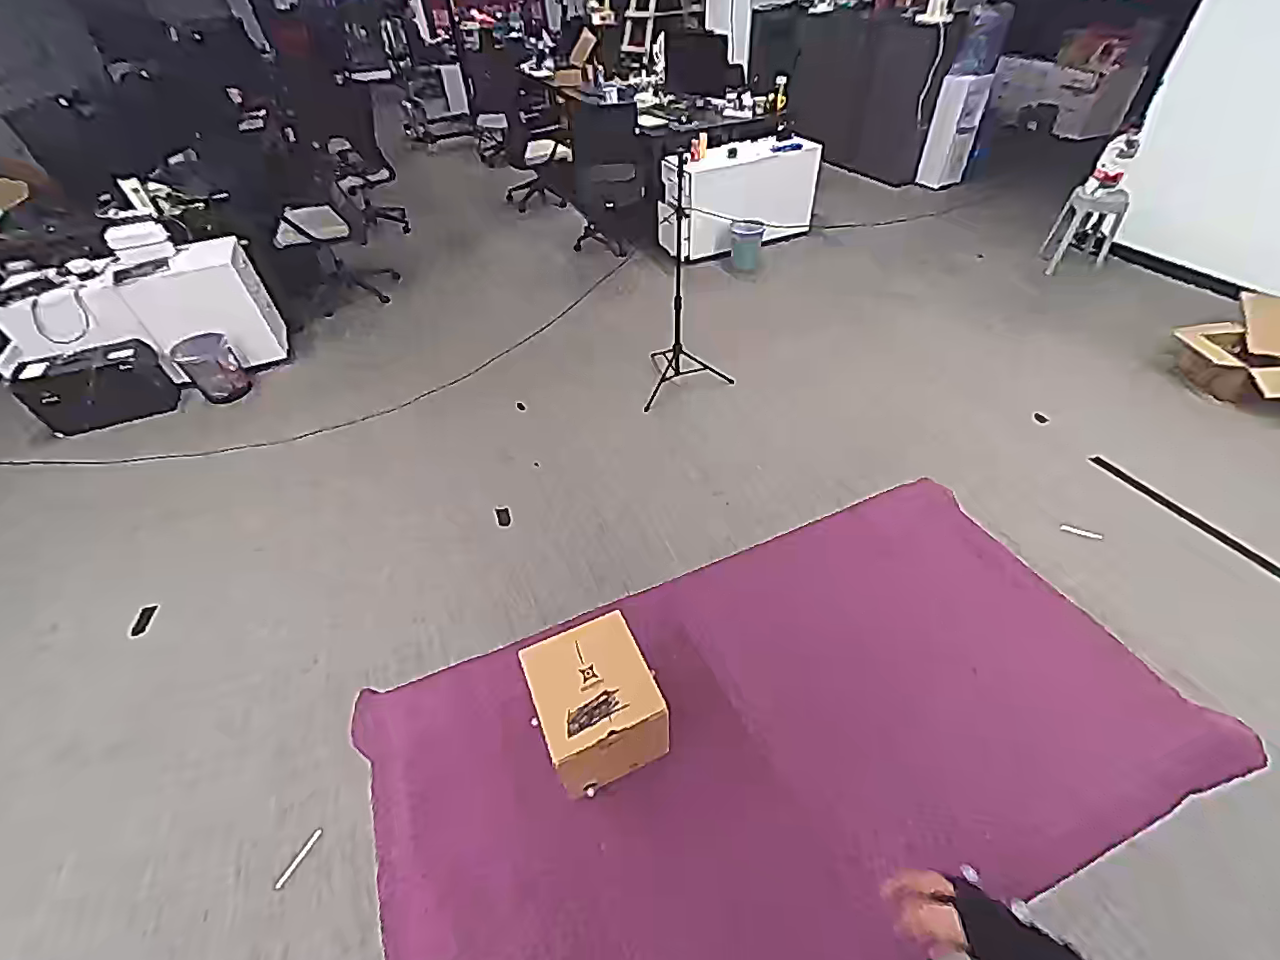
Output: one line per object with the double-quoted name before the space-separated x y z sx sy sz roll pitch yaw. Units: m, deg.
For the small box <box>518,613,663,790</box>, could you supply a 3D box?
"small box" -0.070 0.344 0.827 0.168 0.176 0.179 -19 46 -16
